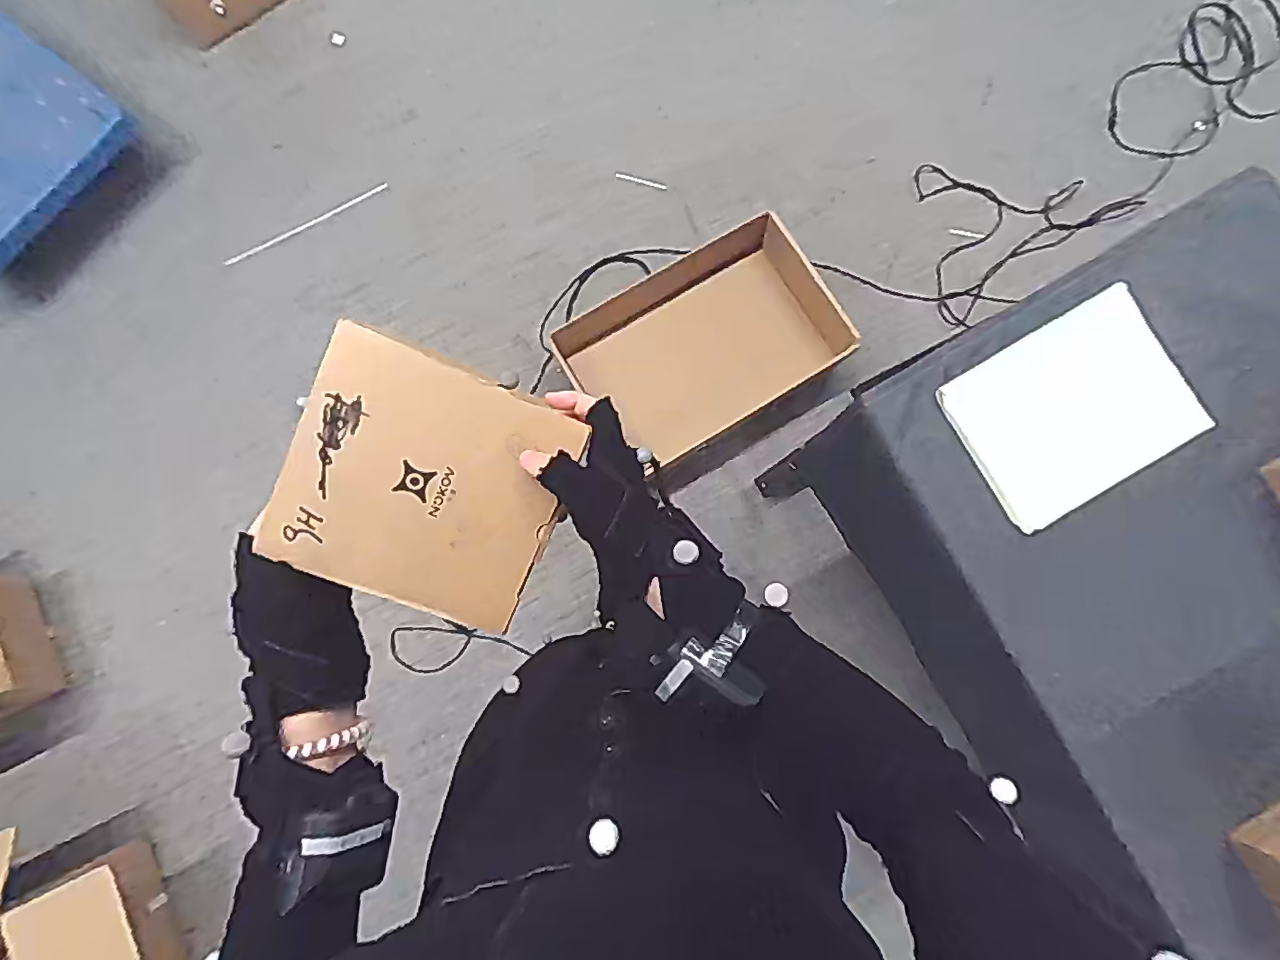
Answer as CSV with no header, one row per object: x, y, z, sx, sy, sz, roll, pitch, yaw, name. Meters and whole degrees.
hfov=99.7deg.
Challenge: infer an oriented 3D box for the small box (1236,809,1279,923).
0.736,0.413,0.490,0.168,0.176,0.179,-26,82,-4,small box
